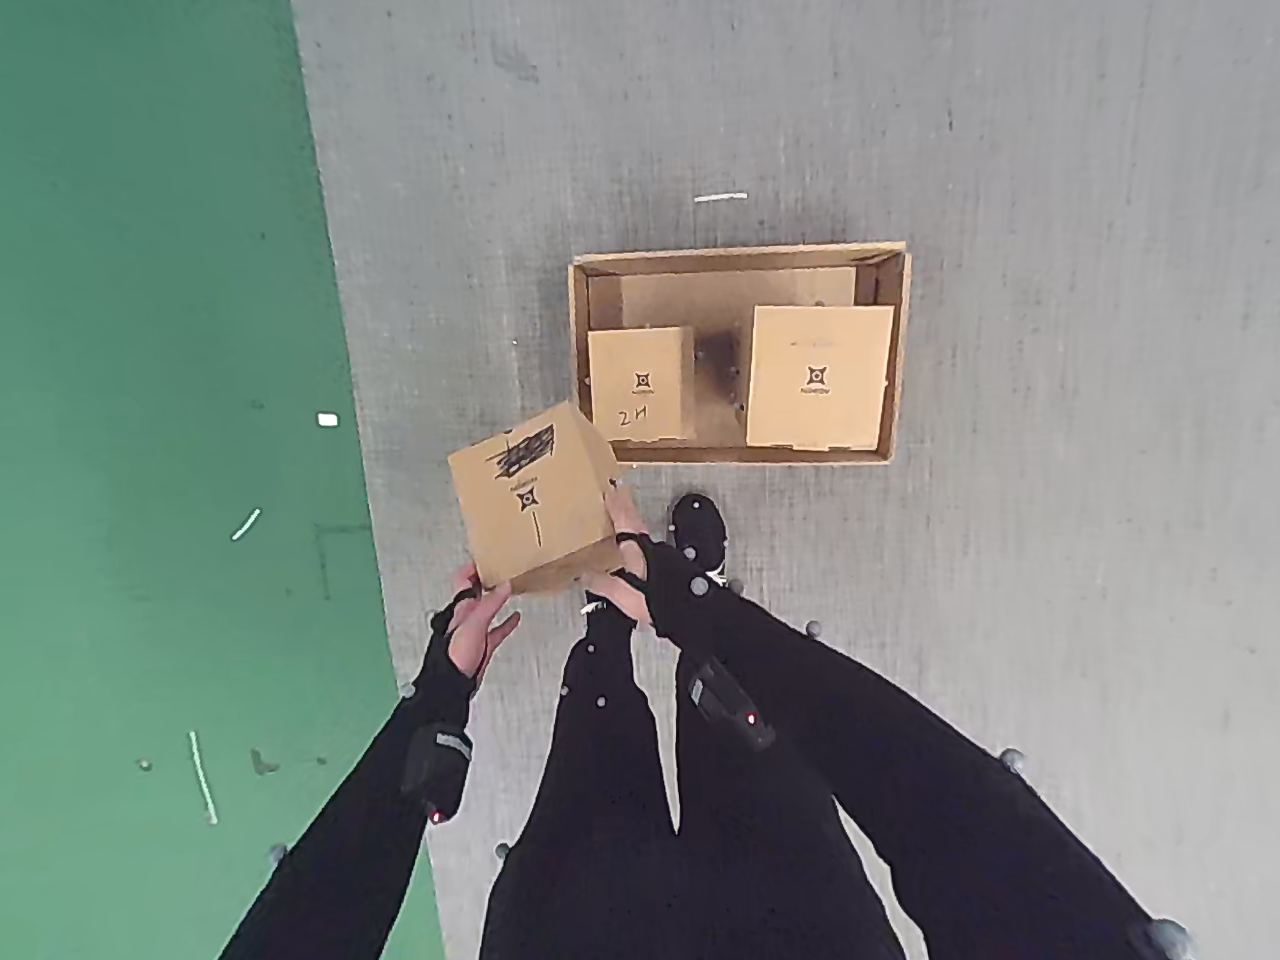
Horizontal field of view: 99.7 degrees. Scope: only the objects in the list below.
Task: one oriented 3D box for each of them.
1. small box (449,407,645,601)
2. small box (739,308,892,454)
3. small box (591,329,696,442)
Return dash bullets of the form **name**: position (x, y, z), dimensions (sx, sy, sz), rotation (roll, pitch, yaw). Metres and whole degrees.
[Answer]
- **small box**: position (-0.110, 0.041, 0.687), dimensions (0.168, 0.176, 0.179), rotation (-24, 70, 7)
- **small box**: position (0.228, -0.139, 0.750), dimensions (0.168, 0.176, 0.179), rotation (3, 103, 6)
- **small box**: position (0.011, -0.161, 0.930), dimensions (0.168, 0.176, 0.179), rotation (-1, 101, 5)
